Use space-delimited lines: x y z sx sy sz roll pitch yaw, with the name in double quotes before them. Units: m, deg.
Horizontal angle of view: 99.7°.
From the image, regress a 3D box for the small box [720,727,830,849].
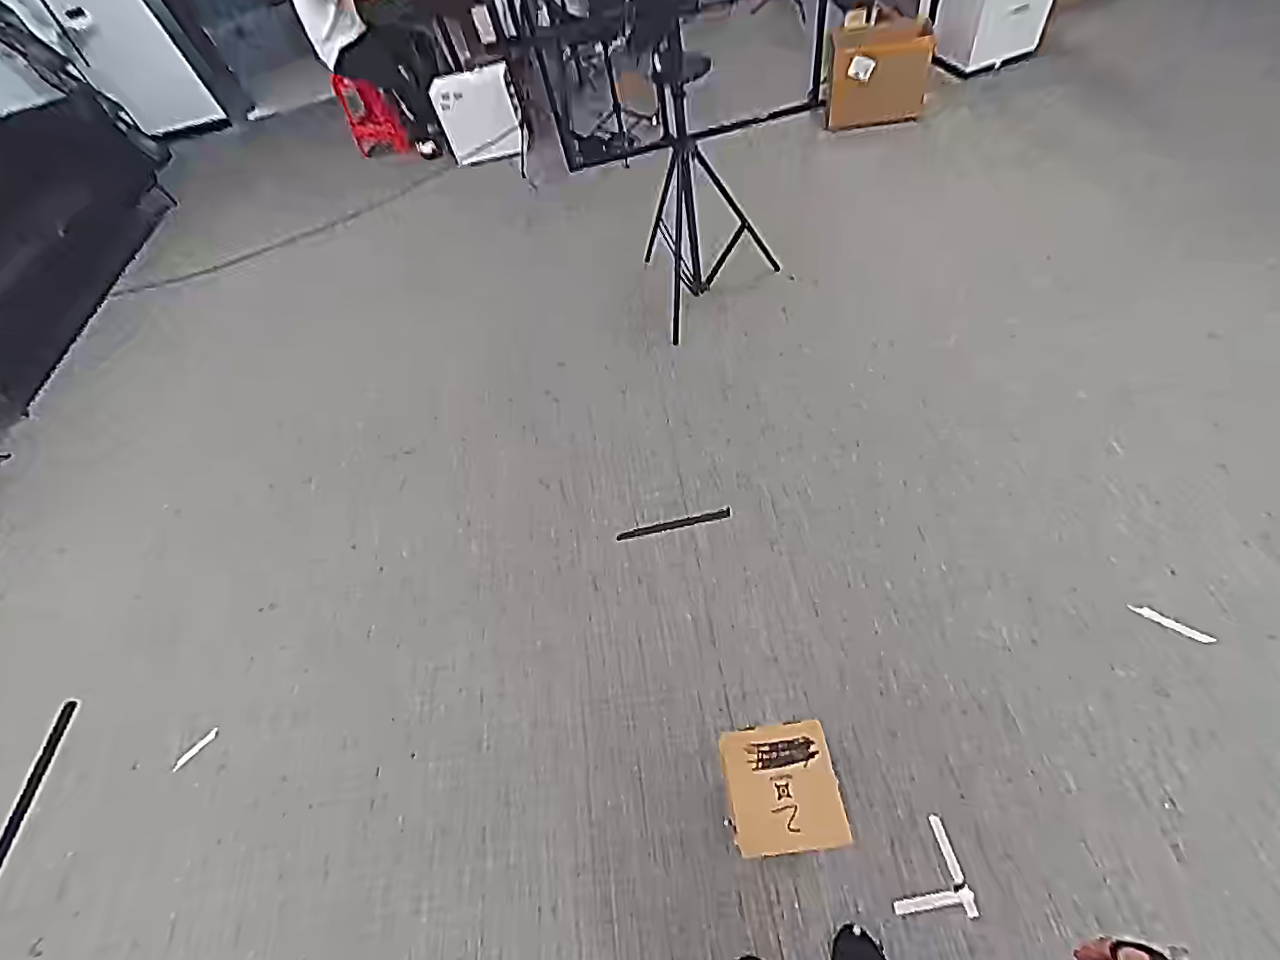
"small box" 0.251 0.597 1.043 0.168 0.176 0.179 -11 55 4
